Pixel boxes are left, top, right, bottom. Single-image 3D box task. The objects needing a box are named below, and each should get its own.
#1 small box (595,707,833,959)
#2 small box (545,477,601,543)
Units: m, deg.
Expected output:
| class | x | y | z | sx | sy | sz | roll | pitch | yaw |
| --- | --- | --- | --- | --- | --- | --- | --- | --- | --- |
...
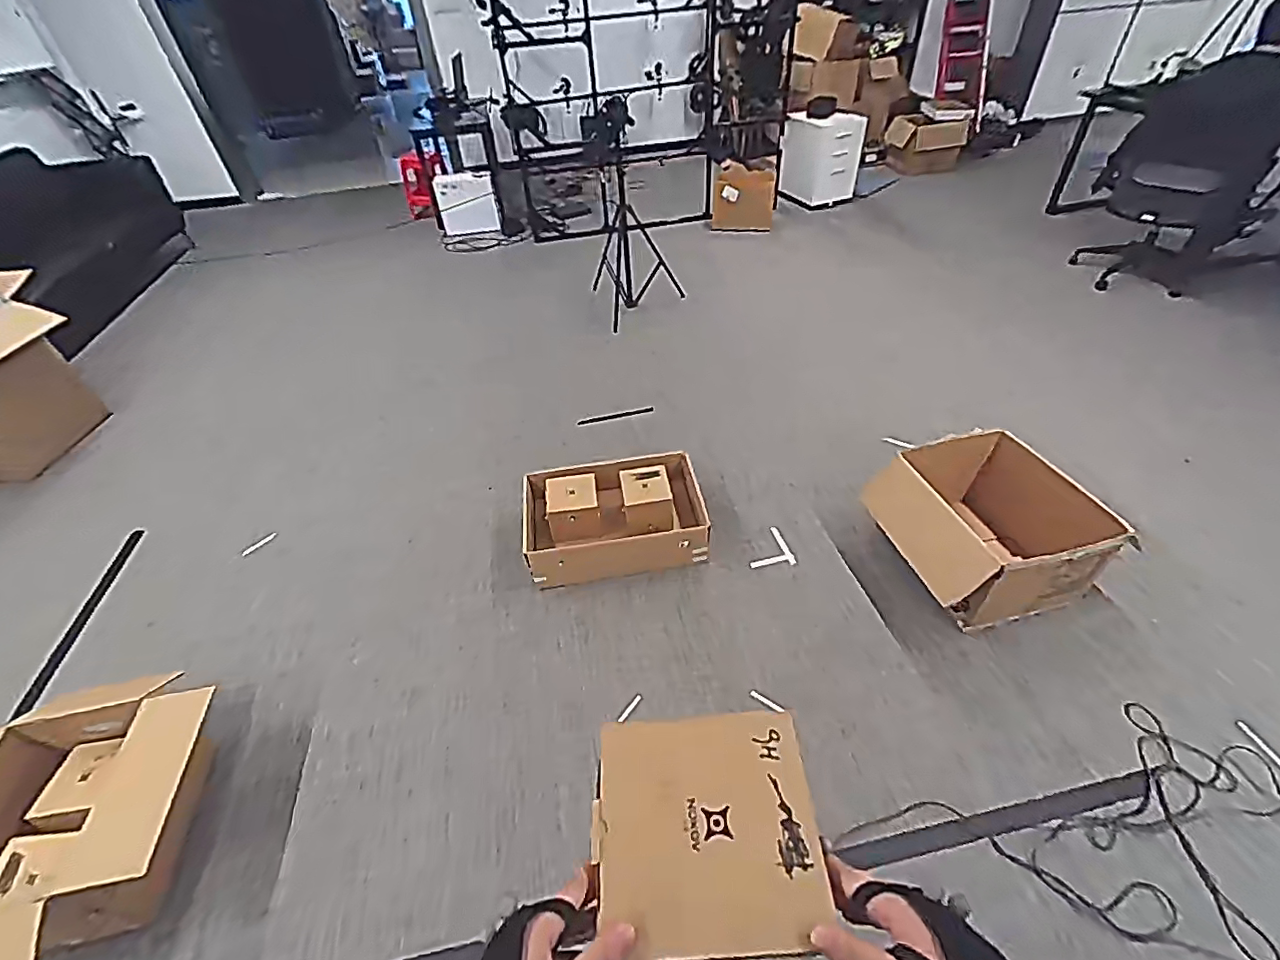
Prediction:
| class | x | y | z | sx | sy | sz | roll | pitch | yaw |
| --- | --- | --- | --- | --- | --- | --- | --- | --- | --- |
| small box | 0.056 | 0.328 | 0.499 | 0.179 | 0.176 | 0.168 | -4 | 47 | 0 |
| small box | -0.241 | 0.111 | 1.948 | 0.179 | 0.176 | 0.168 | -7 | 45 | -5 |
